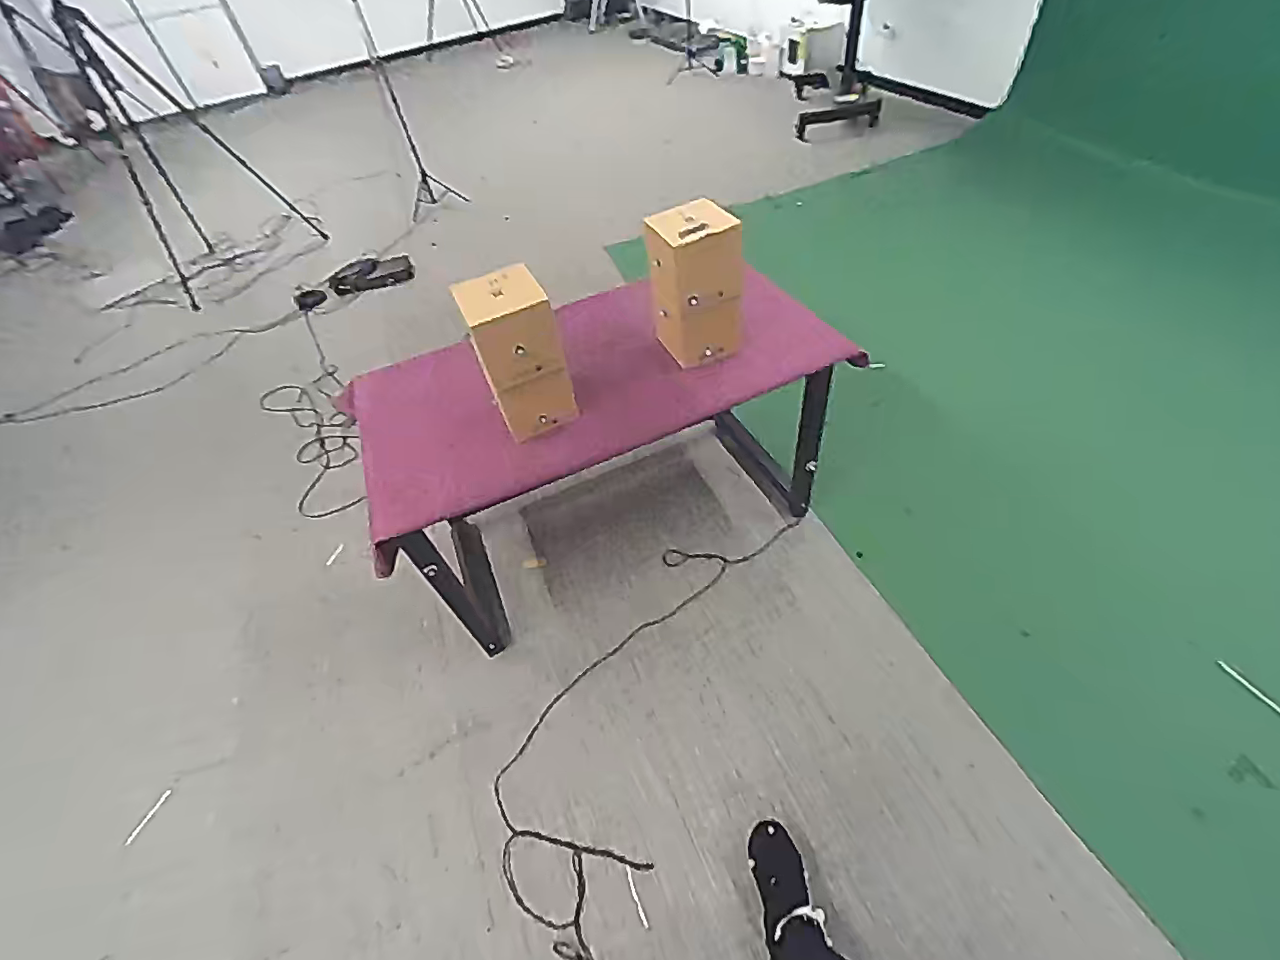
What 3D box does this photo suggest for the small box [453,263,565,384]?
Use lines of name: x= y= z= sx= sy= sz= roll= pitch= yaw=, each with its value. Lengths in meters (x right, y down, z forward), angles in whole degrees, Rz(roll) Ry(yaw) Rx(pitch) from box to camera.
small box: x=-0.273 y=-0.326 z=1.151 sx=0.168 sy=0.176 sz=0.179 roll=-24 pitch=51 yaw=-11

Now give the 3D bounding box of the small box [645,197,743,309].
small box: x=0.128 y=-0.518 z=1.250 sx=0.168 sy=0.176 sz=0.179 roll=-23 pitch=48 yaw=-8

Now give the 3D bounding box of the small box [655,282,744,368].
small box: x=0.151 y=-0.415 z=1.375 sx=0.168 sy=0.176 sz=0.179 roll=-22 pitch=50 yaw=-7
